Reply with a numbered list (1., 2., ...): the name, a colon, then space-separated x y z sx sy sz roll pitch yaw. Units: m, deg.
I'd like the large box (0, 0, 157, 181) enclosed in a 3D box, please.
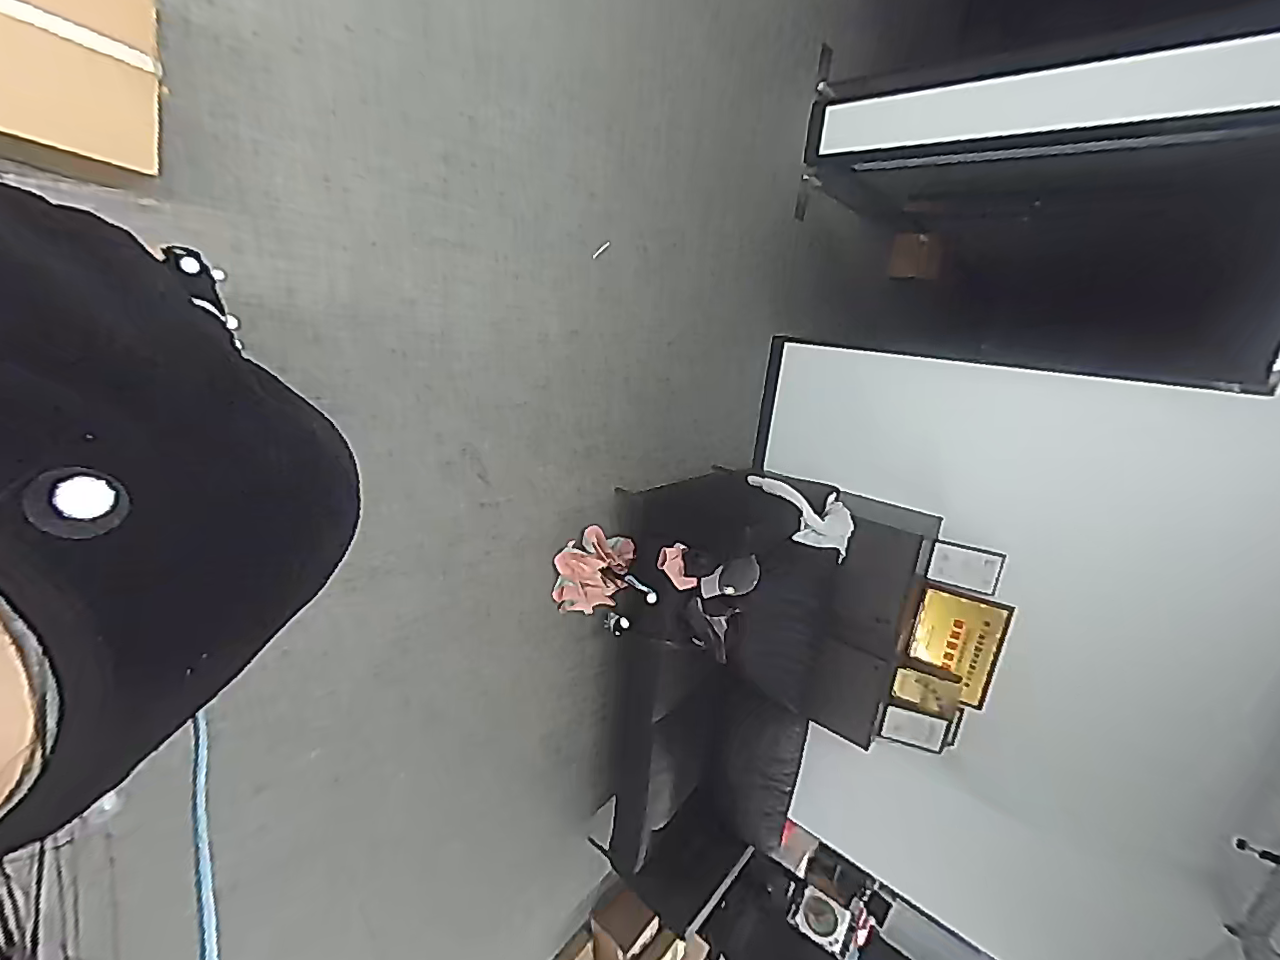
1. large box: -0.996 -0.671 0.784 0.408 0.320 0.320 -5 108 -50
